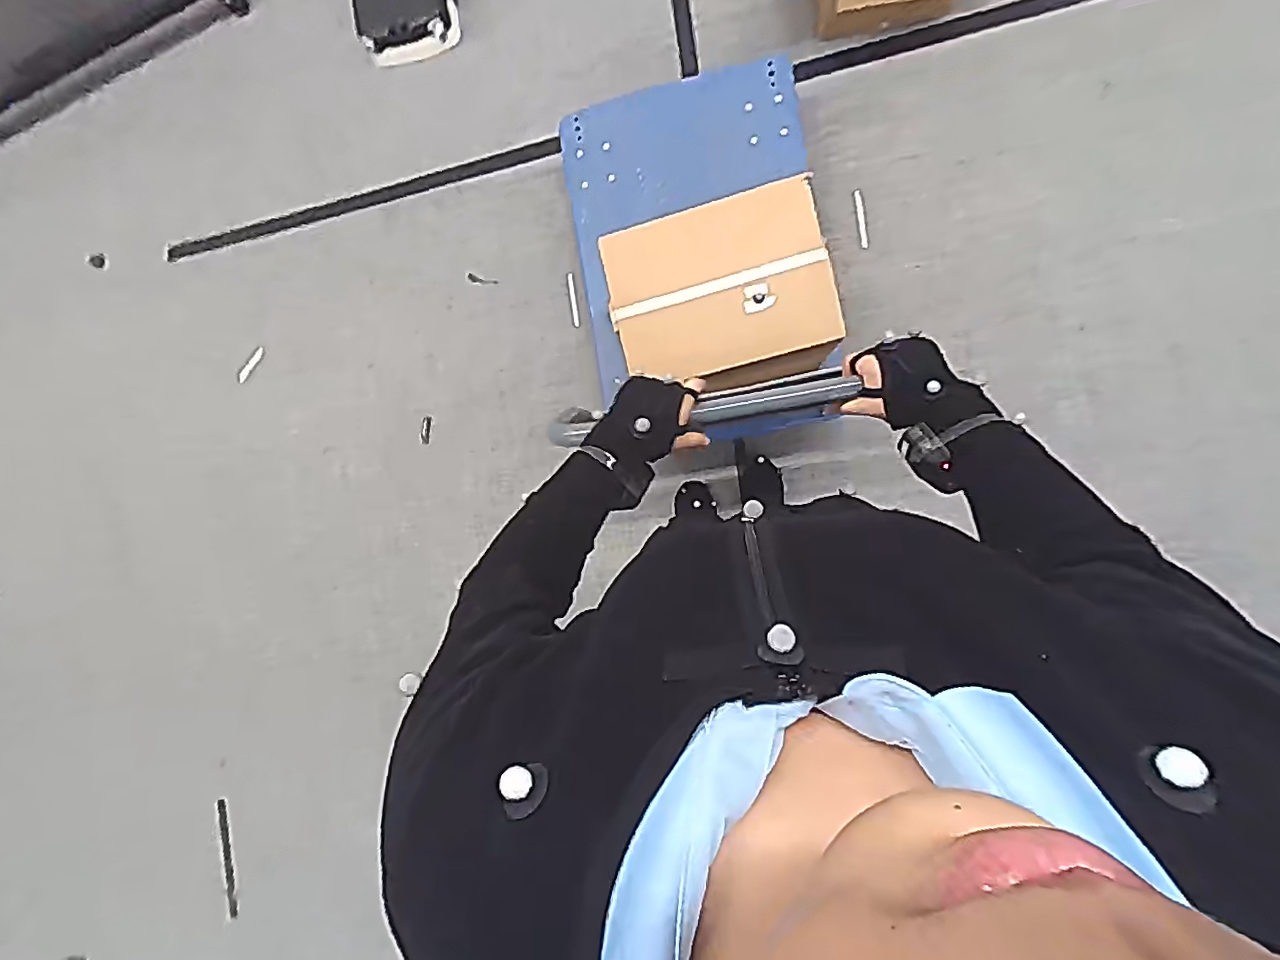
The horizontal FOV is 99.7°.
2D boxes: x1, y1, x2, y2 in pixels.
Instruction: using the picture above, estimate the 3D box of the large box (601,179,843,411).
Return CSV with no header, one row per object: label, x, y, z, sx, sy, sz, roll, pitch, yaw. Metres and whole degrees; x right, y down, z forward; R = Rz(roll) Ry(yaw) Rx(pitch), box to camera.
large box,0.167,-0.362,1.168,0.408,0.320,0.320,-14,89,8
